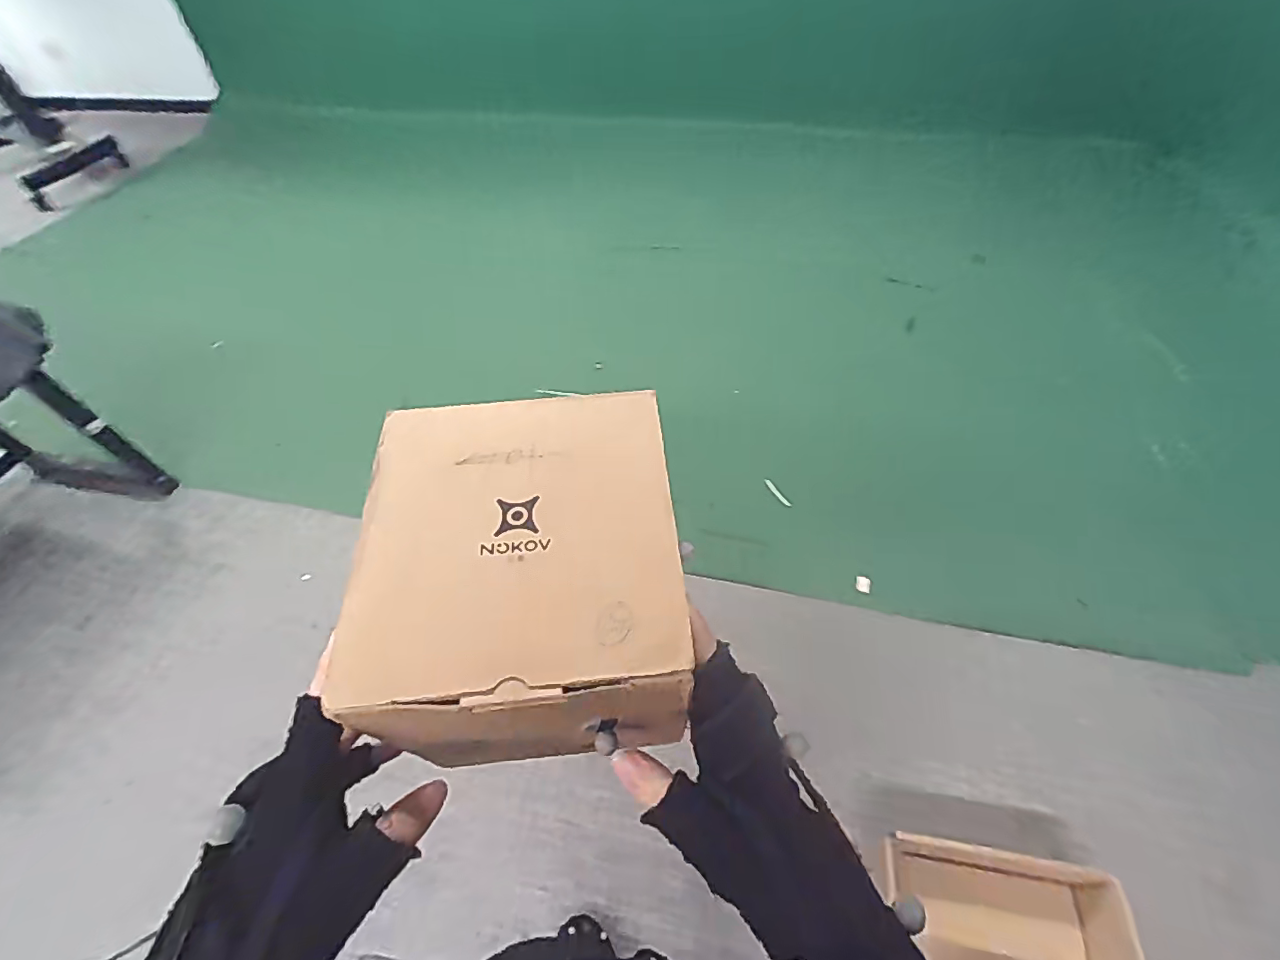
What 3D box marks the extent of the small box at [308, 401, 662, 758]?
[{"bbox_3d":[-0.075,0.074,0.356,0.168,0.176,0.179,-5,55,-3],"label":"small box"}]
